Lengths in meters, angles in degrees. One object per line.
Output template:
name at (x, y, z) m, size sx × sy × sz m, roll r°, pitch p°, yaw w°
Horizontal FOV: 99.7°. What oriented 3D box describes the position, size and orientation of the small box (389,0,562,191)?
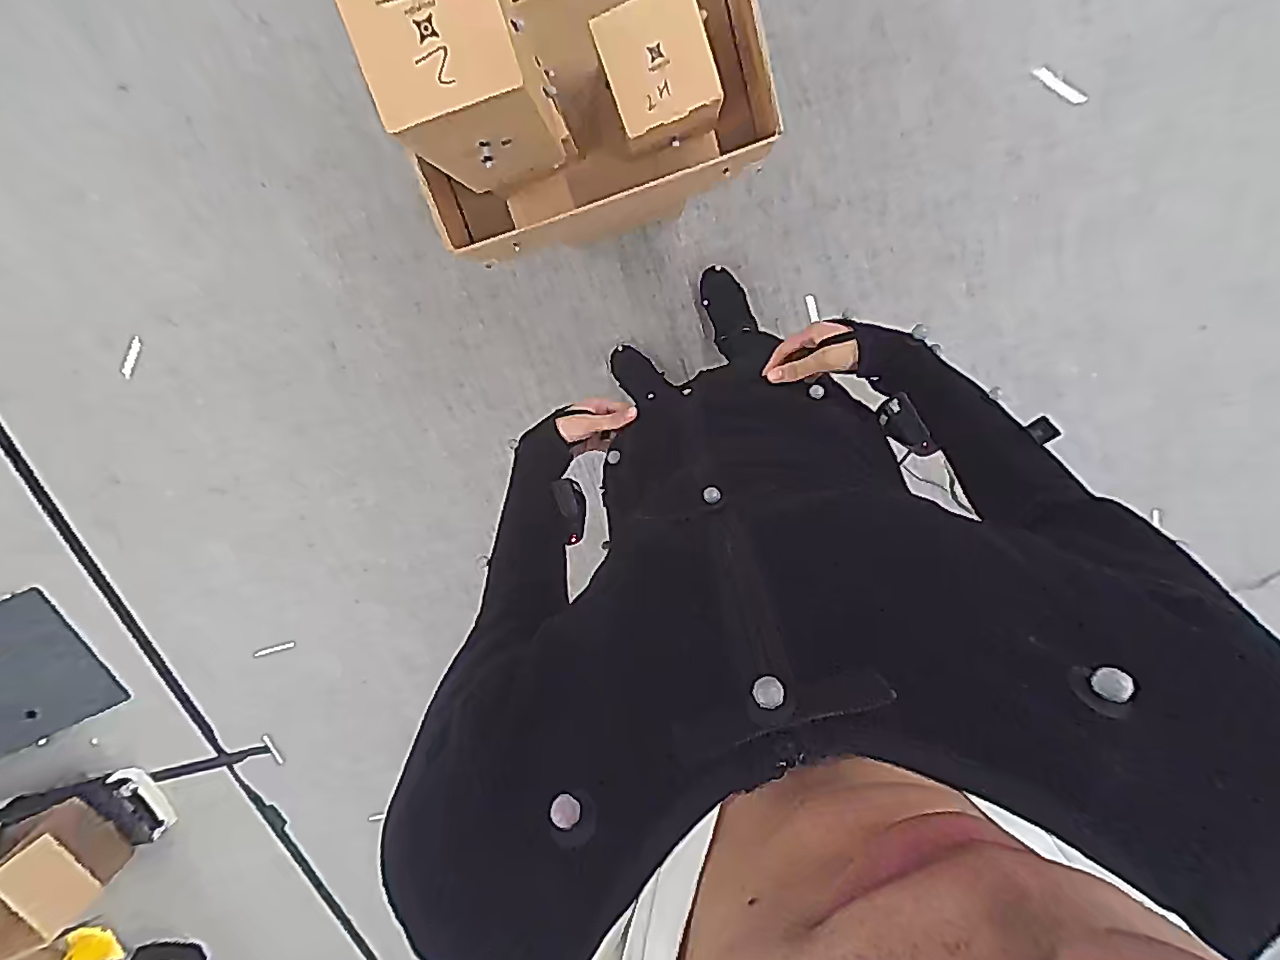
small box at (-0.227, -0.560, 0.798) m, size 0.168 × 0.176 × 0.179 m, roll -16°, pitch 106°, yaw 6°
